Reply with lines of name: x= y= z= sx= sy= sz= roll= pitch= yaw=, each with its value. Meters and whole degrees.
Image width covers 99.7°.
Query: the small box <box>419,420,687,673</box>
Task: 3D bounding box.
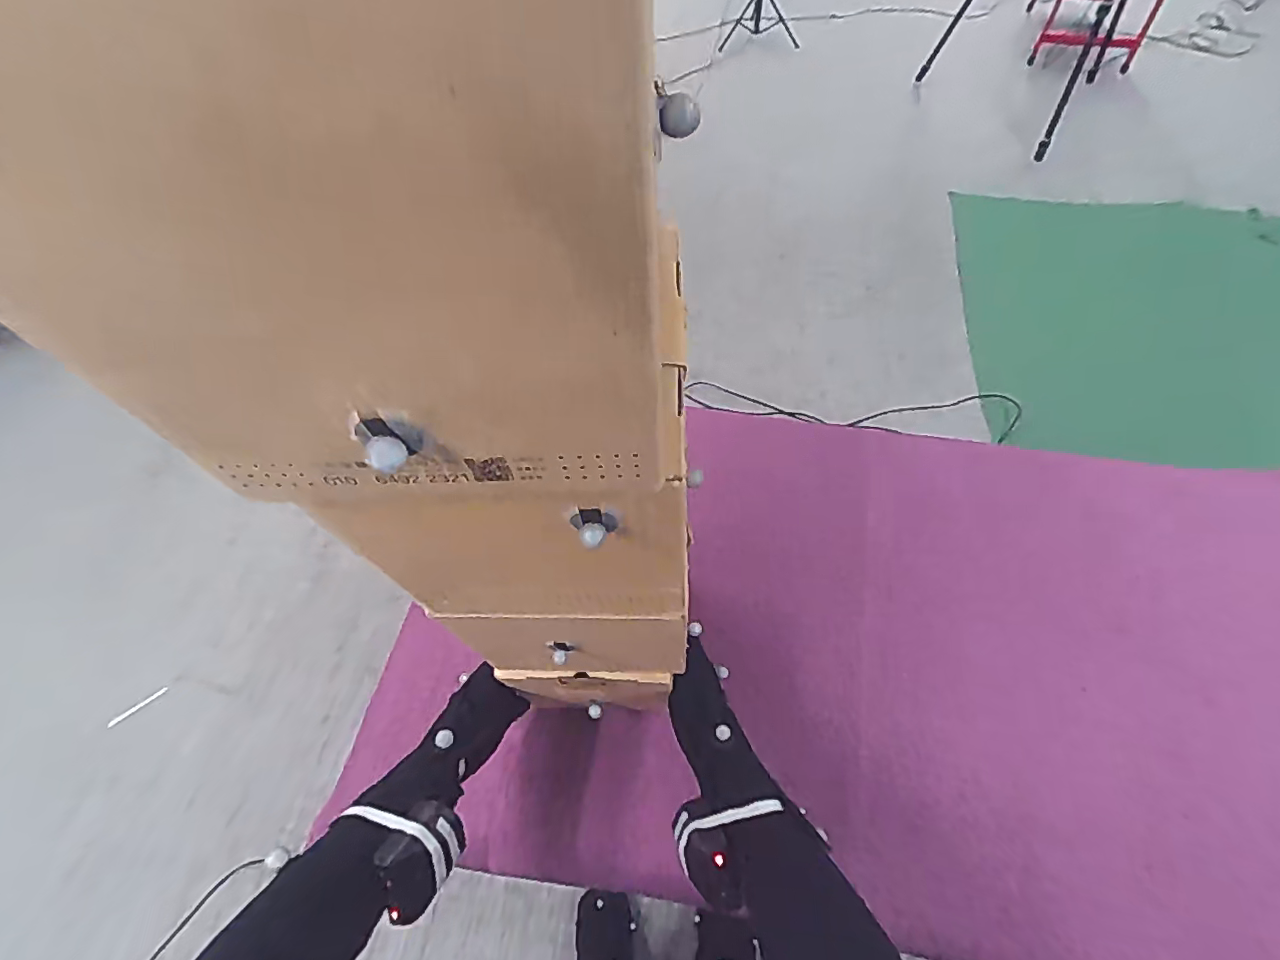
small box: x=-0.051 y=0.060 z=0.463 sx=0.179 sy=0.176 sz=0.168 roll=2 pitch=57 yaw=6

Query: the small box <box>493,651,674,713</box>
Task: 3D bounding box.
small box: x=-0.046 y=0.150 z=0.604 sx=0.168 sy=0.176 sz=0.179 roll=0 pitch=59 yaw=5

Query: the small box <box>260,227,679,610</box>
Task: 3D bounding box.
small box: x=-0.066 y=-0.025 z=0.329 sx=0.179 sy=0.176 sz=0.168 roll=-1 pitch=58 yaw=4
